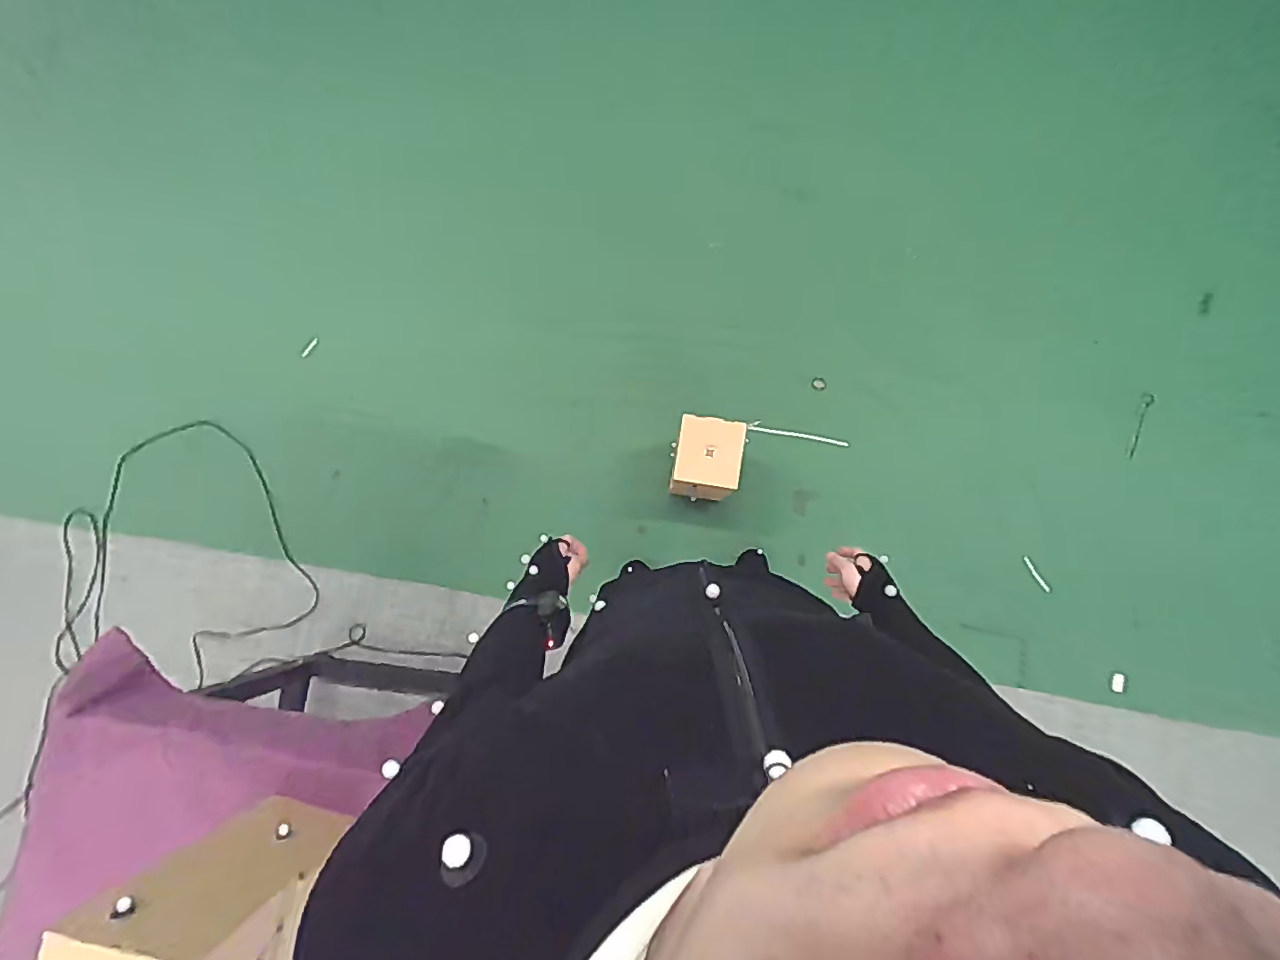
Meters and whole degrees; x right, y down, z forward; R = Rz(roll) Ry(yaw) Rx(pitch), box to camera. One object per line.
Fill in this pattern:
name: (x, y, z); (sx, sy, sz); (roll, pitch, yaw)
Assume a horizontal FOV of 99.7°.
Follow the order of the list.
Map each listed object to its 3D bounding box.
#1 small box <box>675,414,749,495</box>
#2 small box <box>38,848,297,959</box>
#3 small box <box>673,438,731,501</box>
small box: (0.188, -0.060, 1.440); (0.168, 0.176, 0.179); (9, 82, 4)
small box: (-0.561, 0.579, 0.643); (0.179, 0.176, 0.168); (10, 84, 4)
small box: (0.191, -0.039, 1.599); (0.168, 0.176, 0.179); (9, 84, 4)
